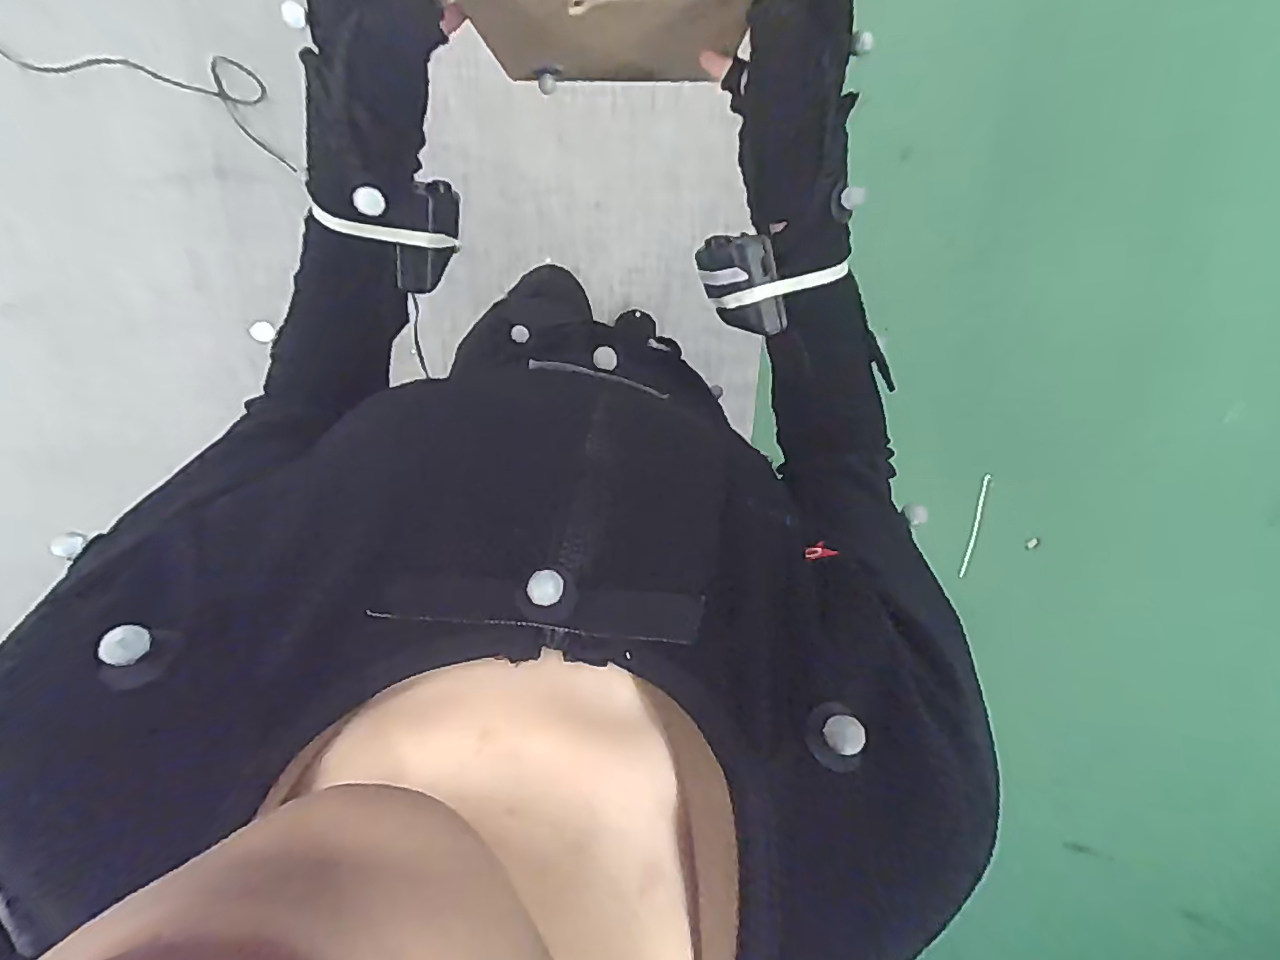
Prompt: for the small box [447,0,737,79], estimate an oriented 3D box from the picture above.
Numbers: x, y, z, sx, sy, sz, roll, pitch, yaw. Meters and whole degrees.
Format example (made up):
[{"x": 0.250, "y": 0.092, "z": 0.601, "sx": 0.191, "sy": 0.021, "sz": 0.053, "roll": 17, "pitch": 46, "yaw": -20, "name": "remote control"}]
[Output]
[{"x": -0.022, "y": -0.355, "z": 0.308, "sx": 0.168, "sy": 0.176, "sz": 0.179, "roll": 0, "pitch": 111, "yaw": -1, "name": "small box"}]
